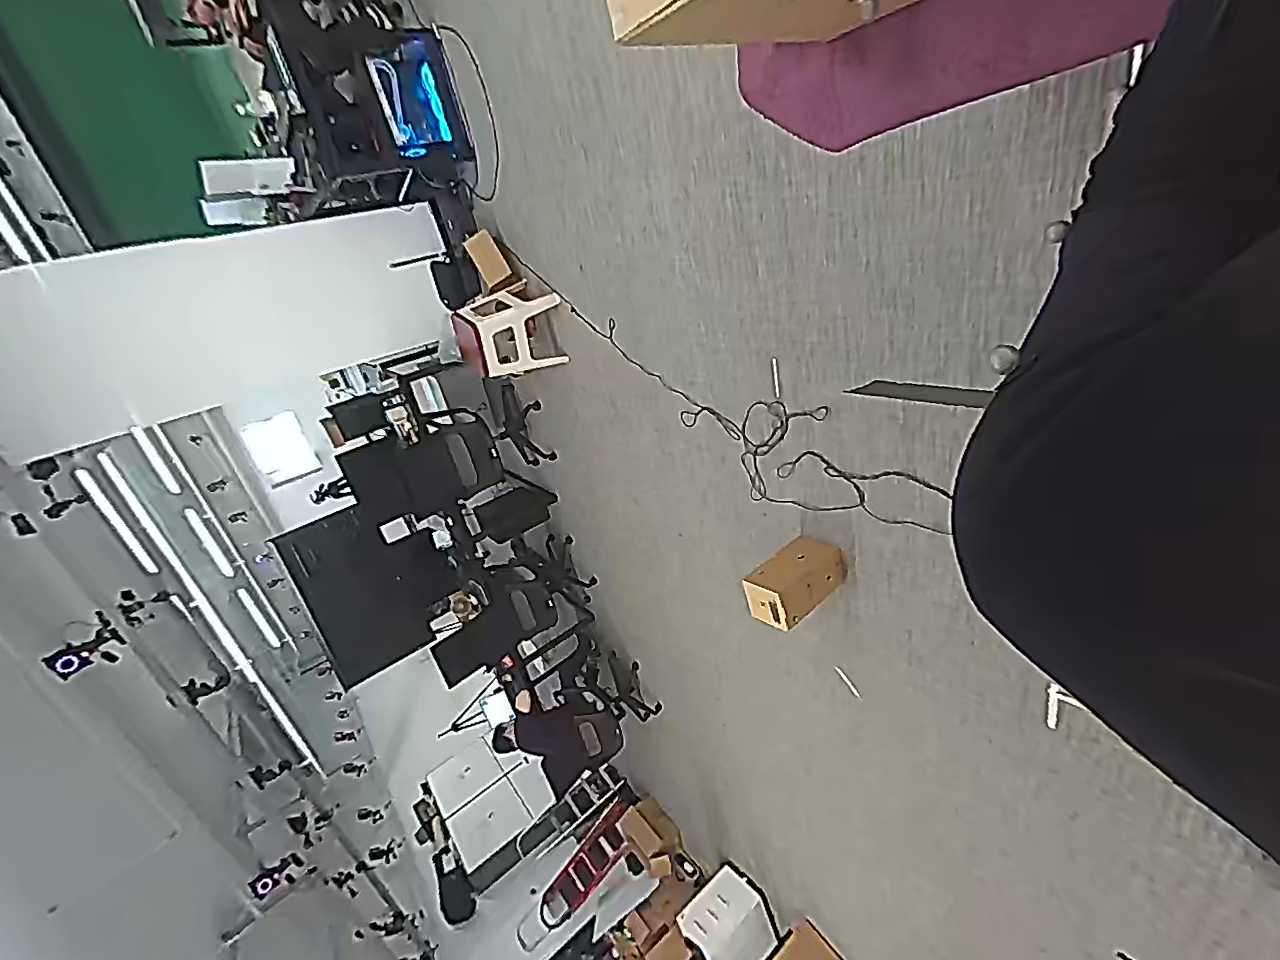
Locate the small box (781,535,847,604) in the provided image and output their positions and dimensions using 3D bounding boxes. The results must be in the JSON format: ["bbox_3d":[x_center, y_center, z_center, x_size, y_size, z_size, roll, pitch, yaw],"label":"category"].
[{"bbox_3d":[0.656,0.328,2.018,0.179,0.176,0.168,19,131,52],"label":"small box"}]
